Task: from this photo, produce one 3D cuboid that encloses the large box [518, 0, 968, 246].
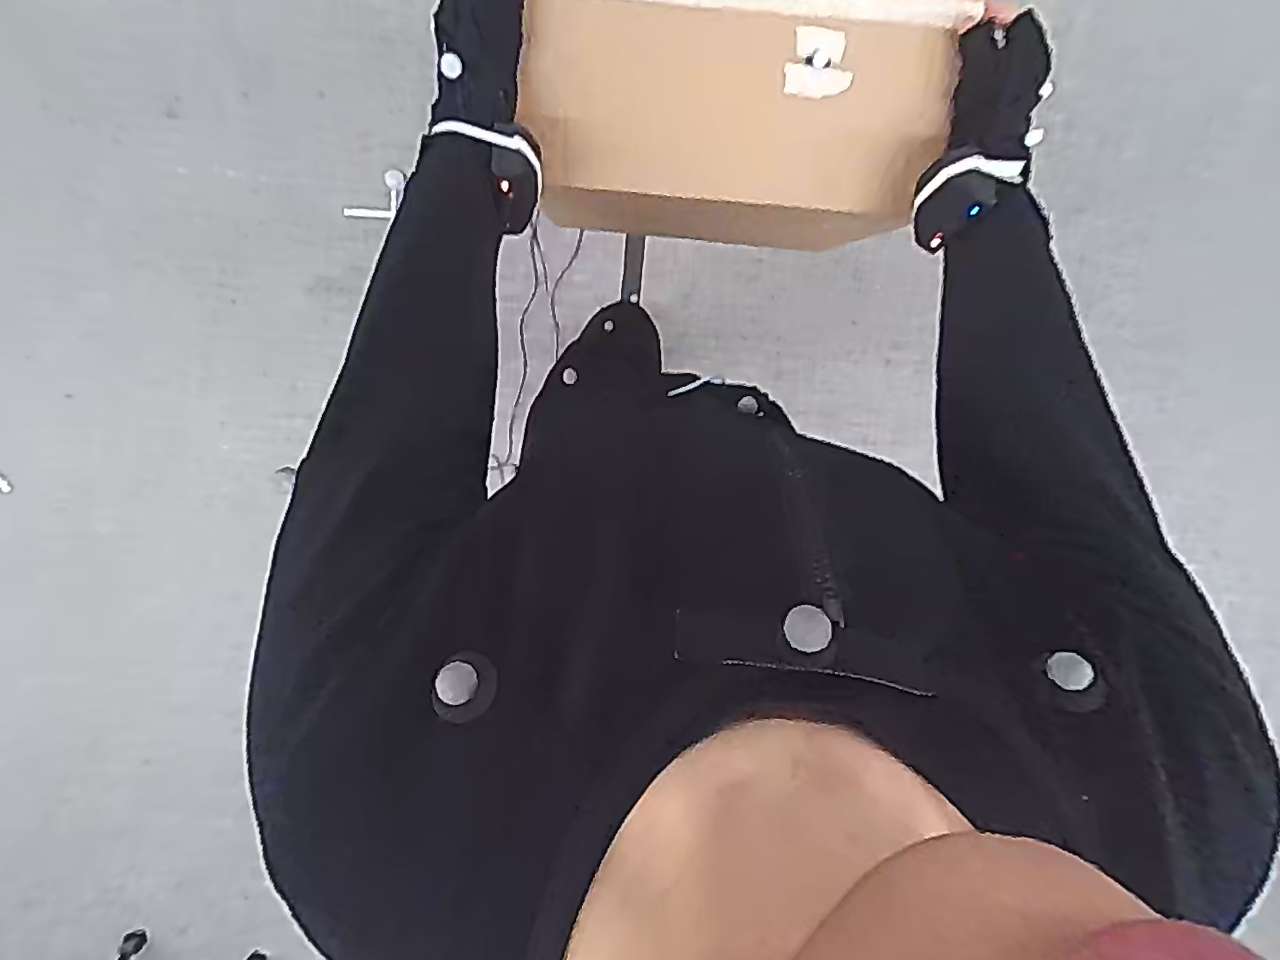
[{"bbox_3d":[0.085,-0.461,0.616,0.408,0.320,0.320,3,108,-3],"label":"large box"}]
